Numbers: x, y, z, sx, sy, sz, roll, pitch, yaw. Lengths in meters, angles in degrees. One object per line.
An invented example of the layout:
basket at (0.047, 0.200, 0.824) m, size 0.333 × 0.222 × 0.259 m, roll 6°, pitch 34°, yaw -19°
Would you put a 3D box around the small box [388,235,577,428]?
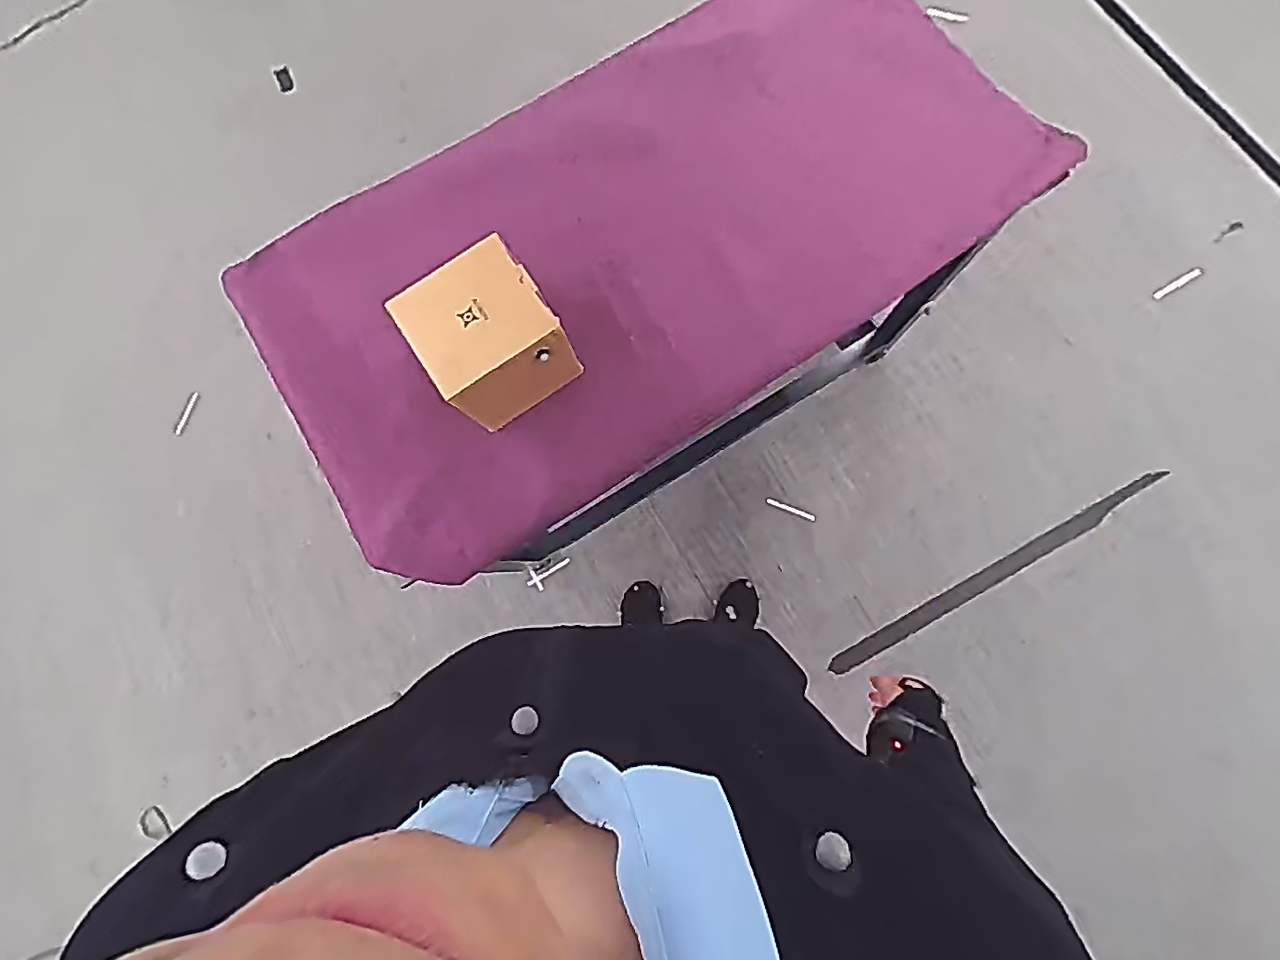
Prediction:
small box at (-0.212, -0.199, 0.776) m, size 0.179 × 0.176 × 0.168 m, roll -34°, pitch 80°, yaw -3°
